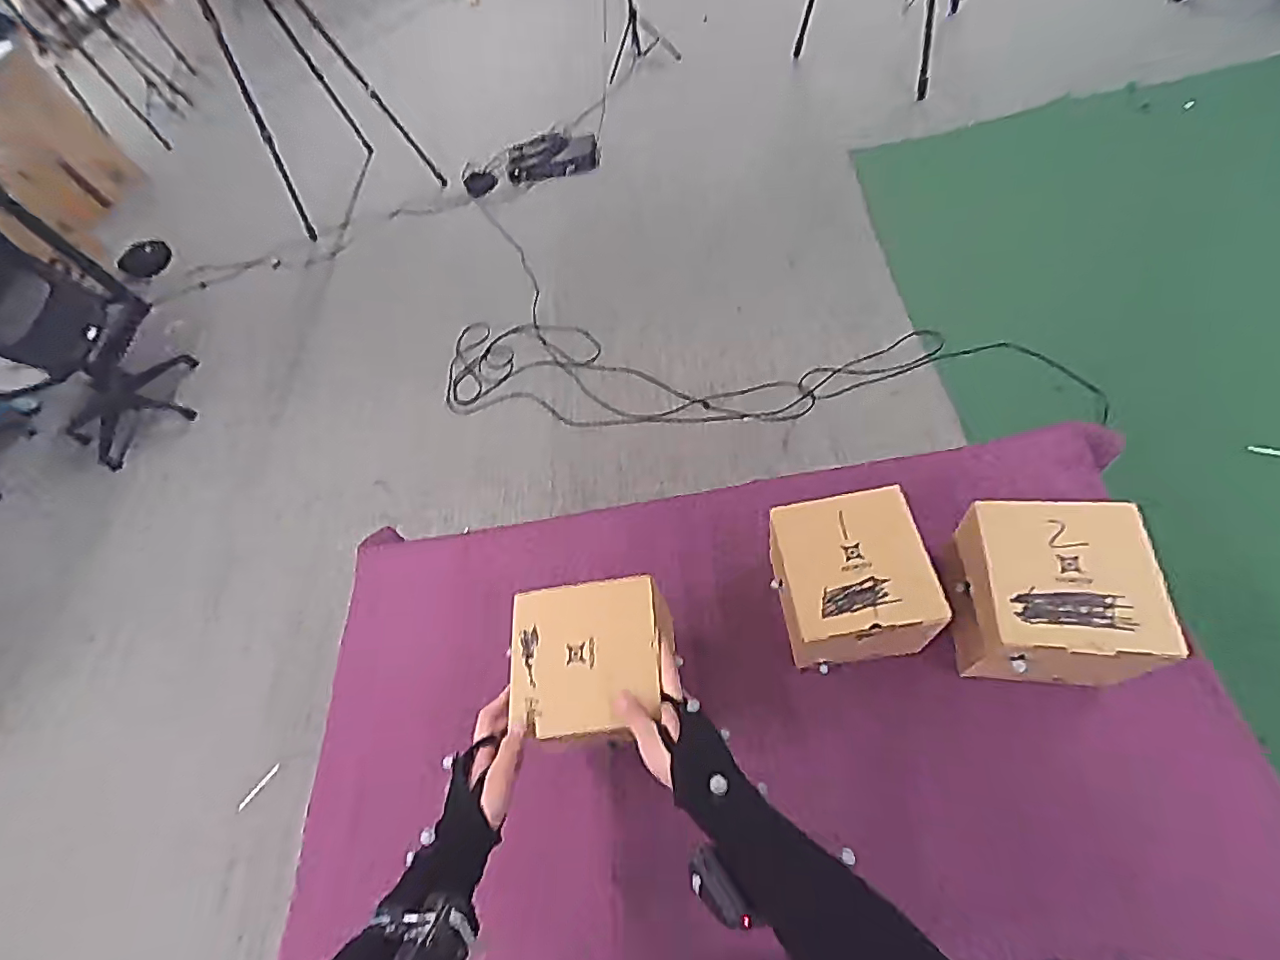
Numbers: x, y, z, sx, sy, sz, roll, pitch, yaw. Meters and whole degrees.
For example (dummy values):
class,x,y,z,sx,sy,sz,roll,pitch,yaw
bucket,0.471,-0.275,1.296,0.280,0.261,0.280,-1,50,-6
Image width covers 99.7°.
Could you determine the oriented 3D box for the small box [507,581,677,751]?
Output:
class,x,y,z,sx,sy,sz,roll,pitch,yaw
small box,-0.049,0.239,0.677,0.179,0.176,0.168,-8,58,7
